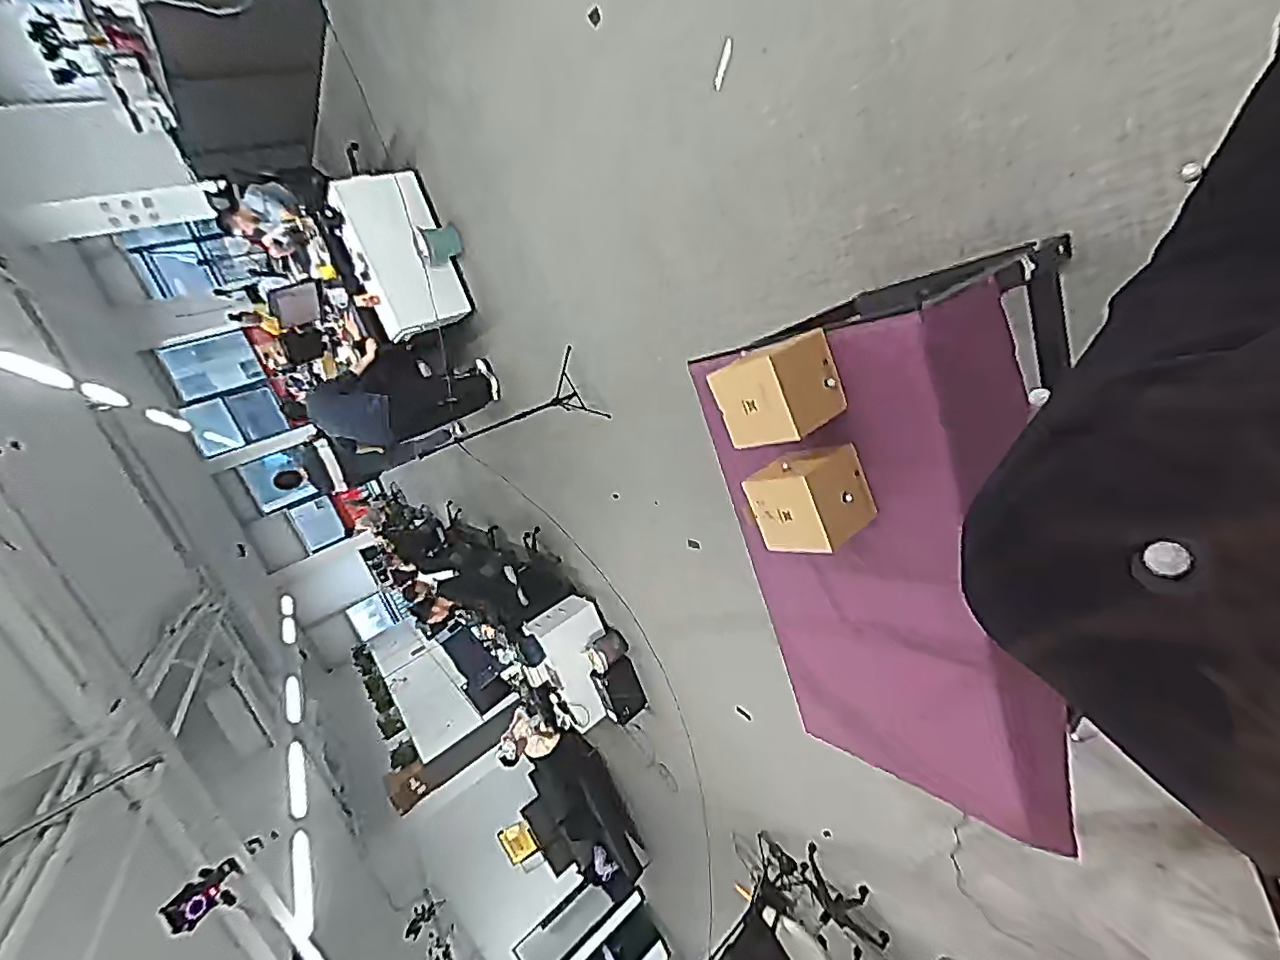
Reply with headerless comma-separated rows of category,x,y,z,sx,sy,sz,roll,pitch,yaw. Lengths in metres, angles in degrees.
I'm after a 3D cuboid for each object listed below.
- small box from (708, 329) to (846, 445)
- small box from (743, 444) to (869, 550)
small box,0.274,-0.182,1.084,0.179,0.176,0.168,-4,114,58
small box,0.358,0.034,1.144,0.179,0.176,0.168,-7,109,59
